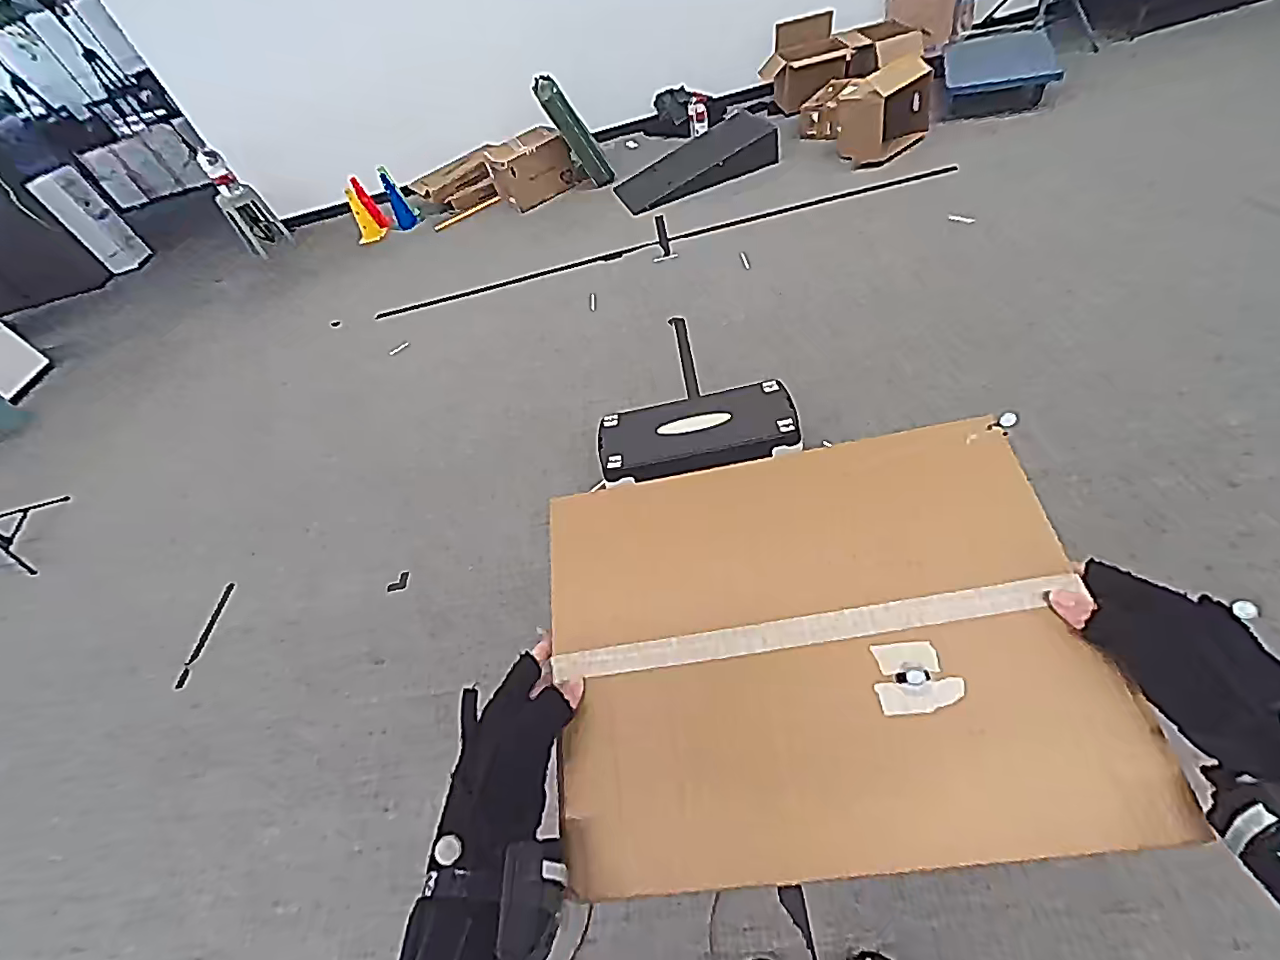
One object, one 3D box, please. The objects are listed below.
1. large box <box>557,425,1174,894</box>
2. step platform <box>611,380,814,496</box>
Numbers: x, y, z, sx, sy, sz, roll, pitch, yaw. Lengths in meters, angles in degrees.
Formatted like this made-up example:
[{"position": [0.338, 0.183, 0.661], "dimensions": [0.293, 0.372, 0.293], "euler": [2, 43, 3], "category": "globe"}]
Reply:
[{"position": [0.157, 0.191, 0.563], "dimensions": [0.408, 0.320, 0.320], "euler": [-11, 61, 7], "category": "large box"}, {"position": [0.240, -0.130, 1.879], "dimensions": [0.684, 0.204, 0.286], "euler": [-12, 48, 5], "category": "step platform"}]
